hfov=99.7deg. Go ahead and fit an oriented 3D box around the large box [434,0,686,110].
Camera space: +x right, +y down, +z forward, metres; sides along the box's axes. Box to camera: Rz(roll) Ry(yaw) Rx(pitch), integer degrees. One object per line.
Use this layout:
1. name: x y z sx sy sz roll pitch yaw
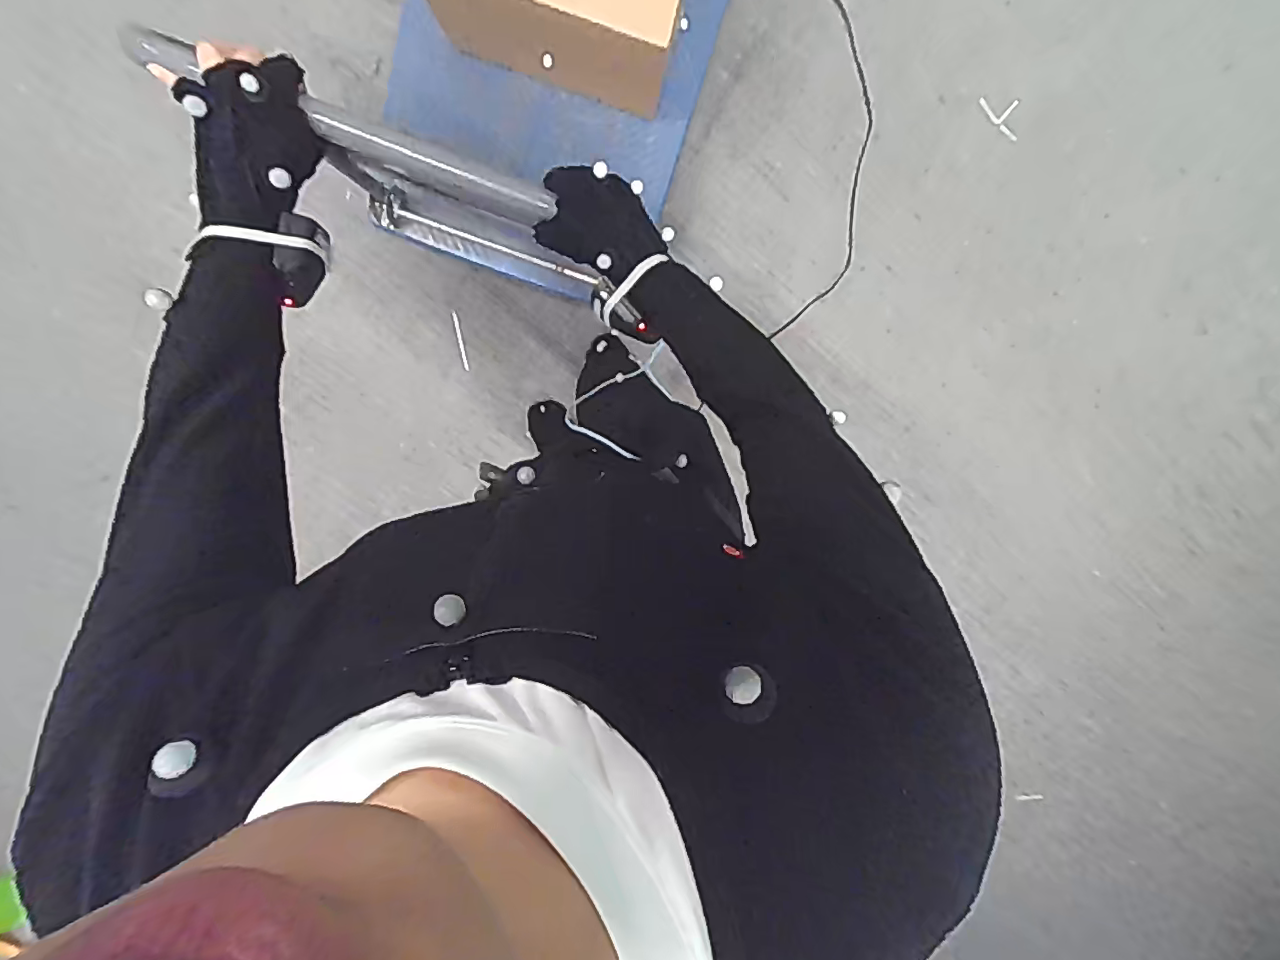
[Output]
1. large box: -0.111 -0.886 0.889 0.408 0.320 0.320 15 105 -6
